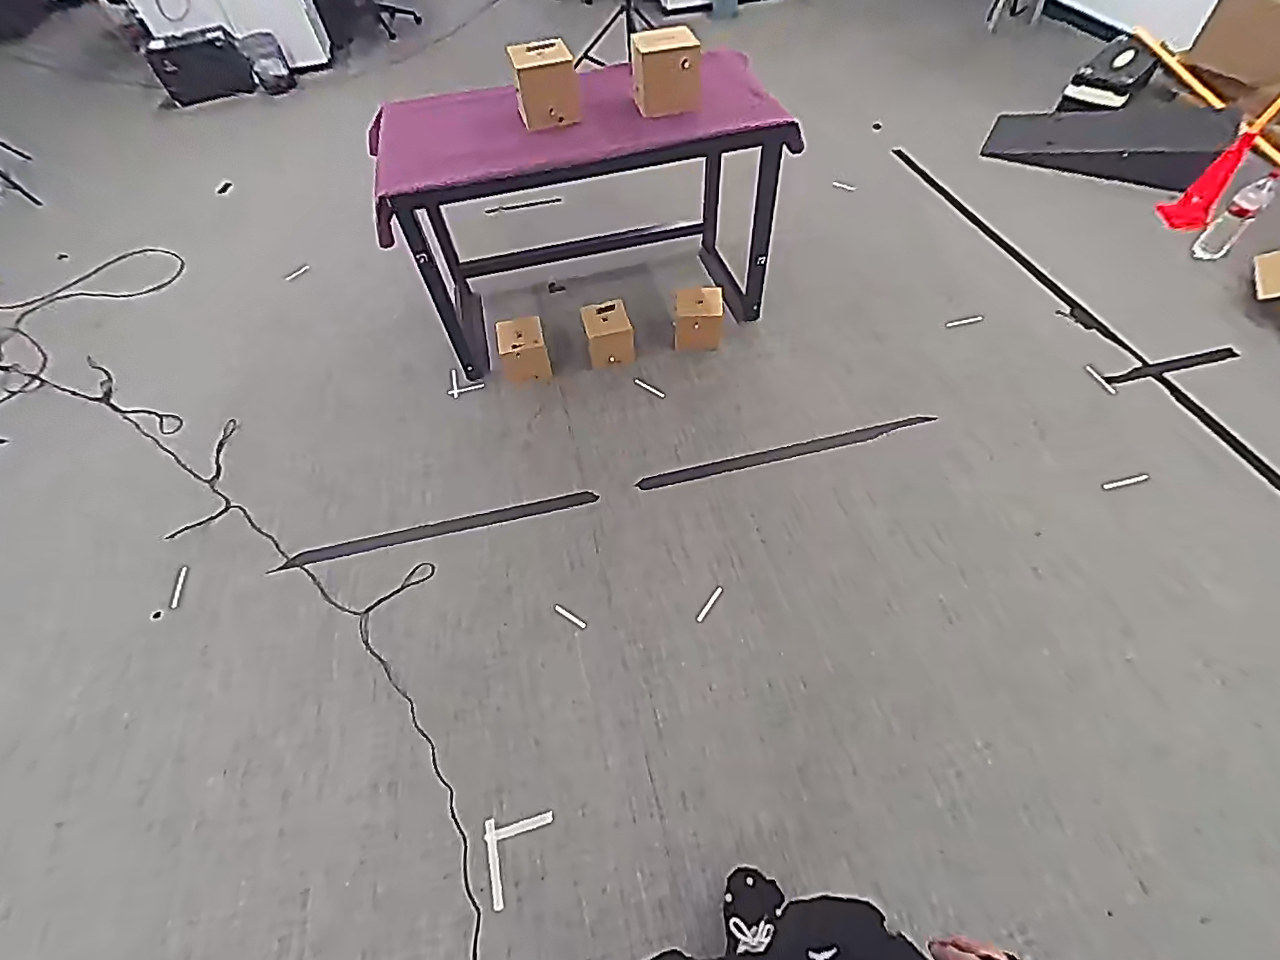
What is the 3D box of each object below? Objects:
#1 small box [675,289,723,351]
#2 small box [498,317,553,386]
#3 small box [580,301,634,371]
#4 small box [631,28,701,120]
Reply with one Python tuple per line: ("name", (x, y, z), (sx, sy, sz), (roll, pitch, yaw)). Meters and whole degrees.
("small box", (0.225, -0.617, 2.090), (0.179, 0.176, 0.168), (0, 56, 6))
("small box", (-0.434, -0.483, 2.045), (0.168, 0.176, 0.179), (-12, 55, -5))
("small box", (-0.124, -0.549, 2.067), (0.168, 0.176, 0.179), (-14, 56, -5))
("small box", (0.076, -1.220, 1.627), (0.179, 0.176, 0.168), (-12, 55, -4))
